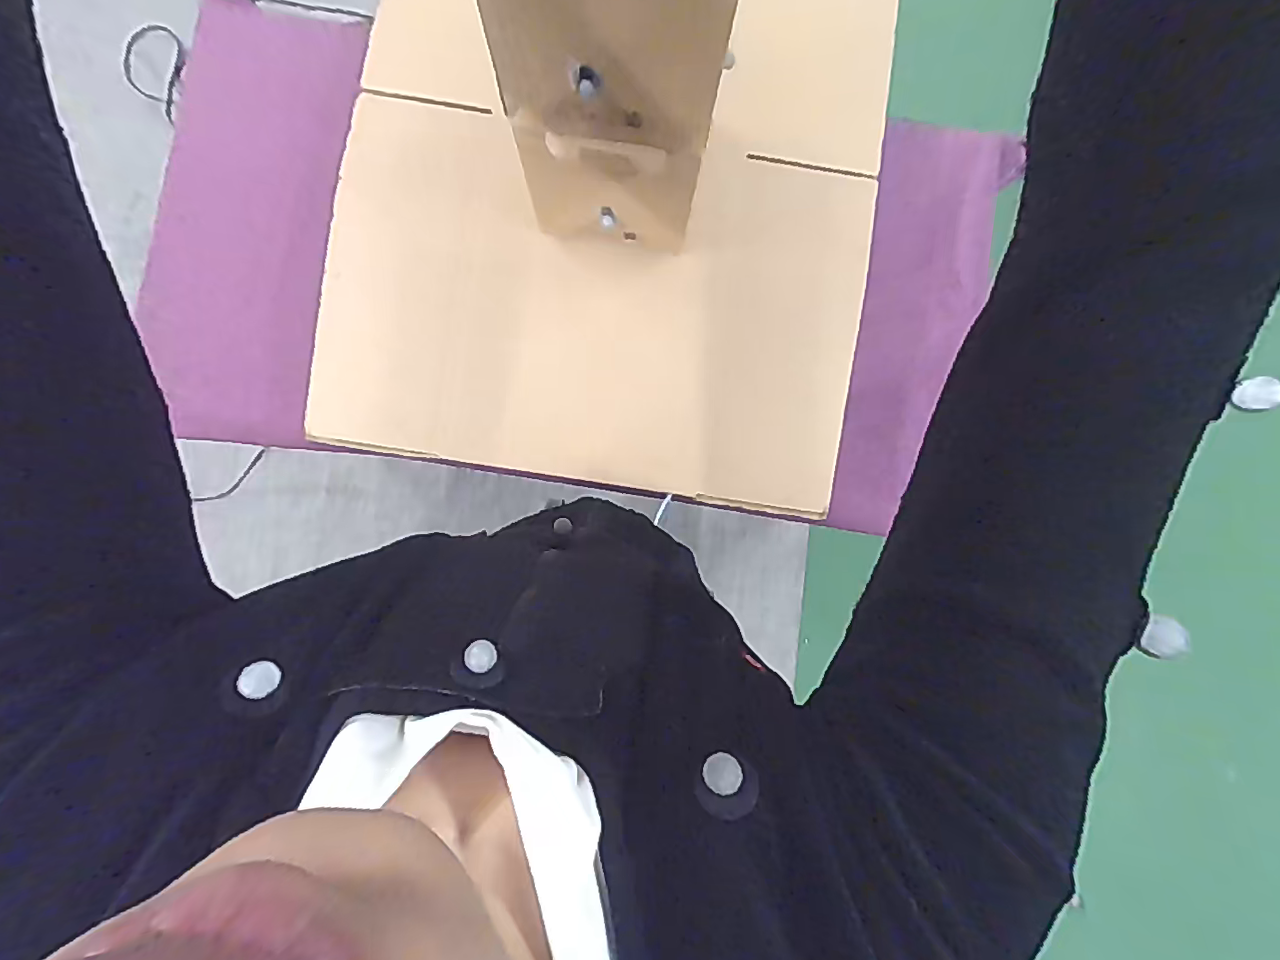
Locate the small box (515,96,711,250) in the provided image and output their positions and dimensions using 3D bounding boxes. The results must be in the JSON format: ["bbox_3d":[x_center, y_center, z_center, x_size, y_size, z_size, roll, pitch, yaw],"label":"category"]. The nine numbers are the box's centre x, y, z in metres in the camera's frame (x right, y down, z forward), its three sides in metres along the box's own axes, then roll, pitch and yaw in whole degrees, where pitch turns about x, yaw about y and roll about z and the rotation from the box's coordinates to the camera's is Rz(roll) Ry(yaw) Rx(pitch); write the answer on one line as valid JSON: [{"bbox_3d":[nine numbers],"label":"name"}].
[{"bbox_3d":[-0.014,-0.363,0.536,0.168,0.176,0.179,9,85,-2],"label":"small box"}]

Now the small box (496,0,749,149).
[{"bbox_3d":[-0.008,-0.377,0.374,0.168,0.176,0.179,8,85,-3],"label":"small box"}]
